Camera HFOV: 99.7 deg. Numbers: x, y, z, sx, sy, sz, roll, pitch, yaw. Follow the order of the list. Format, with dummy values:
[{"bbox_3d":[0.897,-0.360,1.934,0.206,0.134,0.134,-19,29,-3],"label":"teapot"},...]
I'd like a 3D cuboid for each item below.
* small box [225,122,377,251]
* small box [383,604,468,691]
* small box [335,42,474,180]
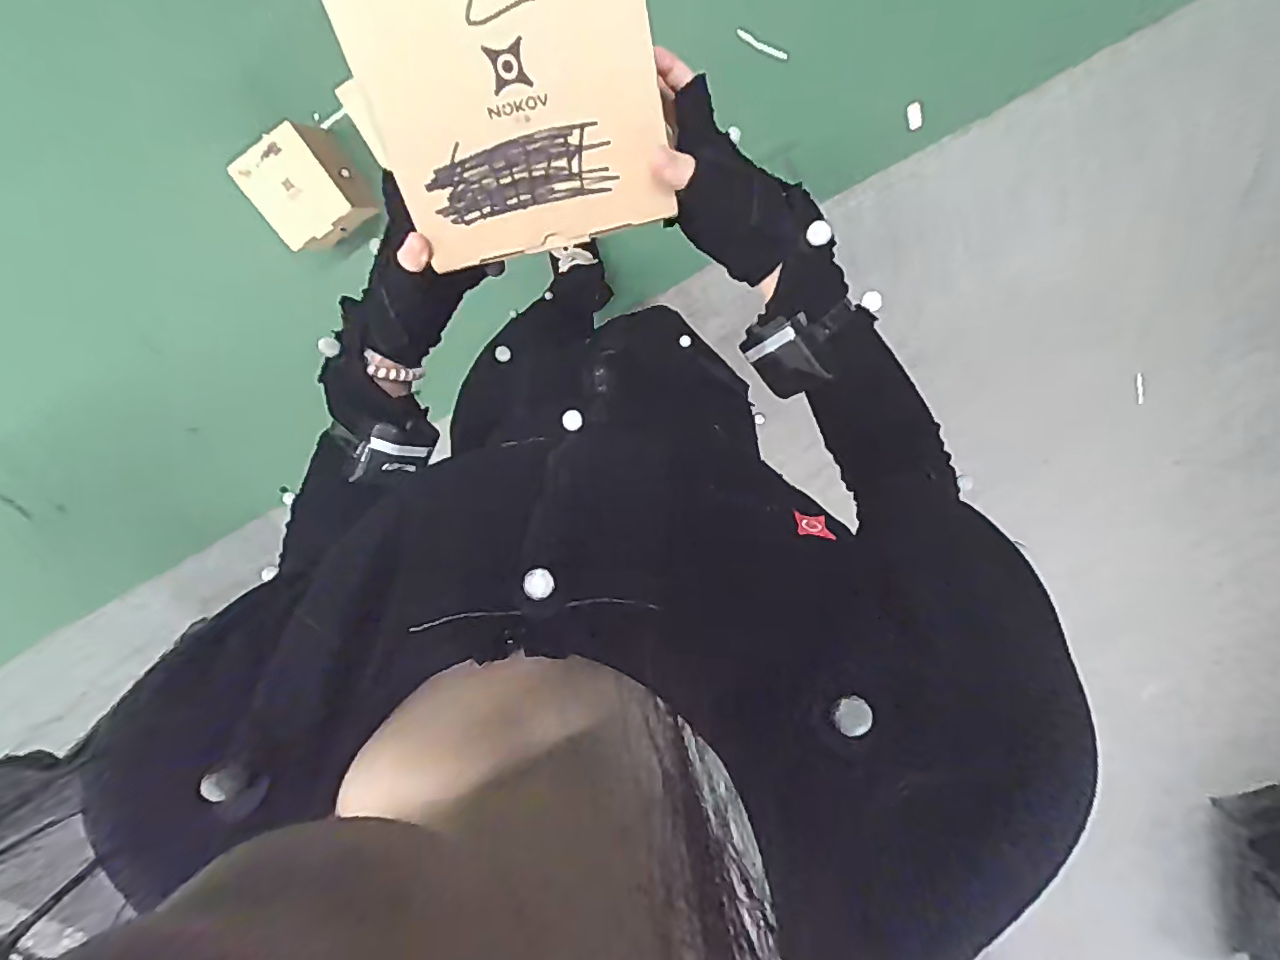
[{"bbox_3d":[-0.690,-0.611,1.128,0.168,0.176,0.179,-27,118,11],"label":"small box"},{"bbox_3d":[-0.688,0.542,1.757,0.179,0.176,0.168,-37,115,16],"label":"small box"},{"bbox_3d":[-0.453,-0.724,1.079,0.179,0.176,0.168,-24,117,10],"label":"small box"}]
